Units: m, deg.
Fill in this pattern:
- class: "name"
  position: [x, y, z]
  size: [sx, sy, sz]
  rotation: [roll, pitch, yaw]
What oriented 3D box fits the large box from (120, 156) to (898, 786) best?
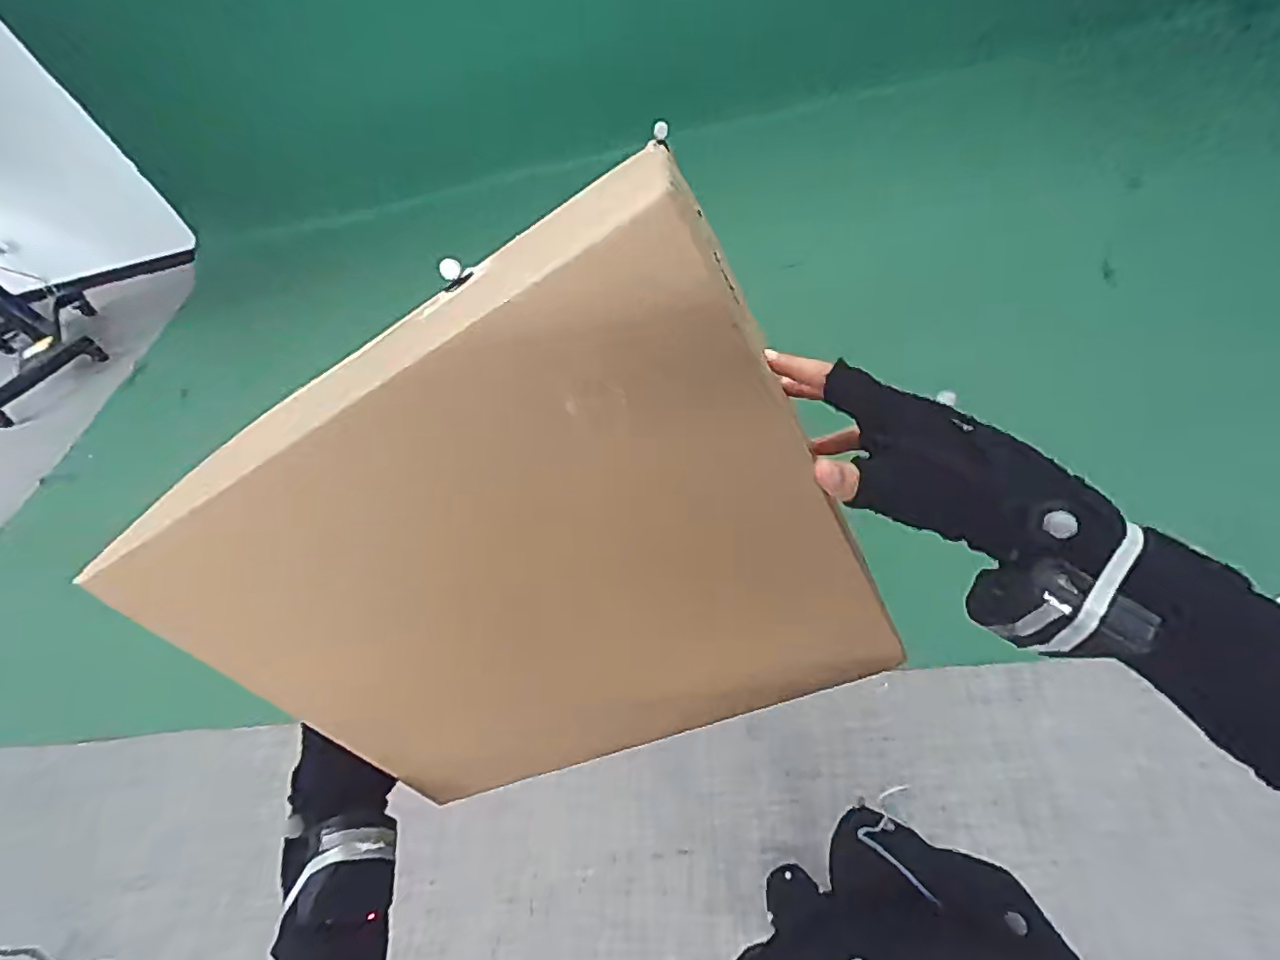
- class: "large box"
  position: [-0.068, -0.002, 0.464]
  size: [0.408, 0.320, 0.320]
  rotation: [-25, 31, 17]
